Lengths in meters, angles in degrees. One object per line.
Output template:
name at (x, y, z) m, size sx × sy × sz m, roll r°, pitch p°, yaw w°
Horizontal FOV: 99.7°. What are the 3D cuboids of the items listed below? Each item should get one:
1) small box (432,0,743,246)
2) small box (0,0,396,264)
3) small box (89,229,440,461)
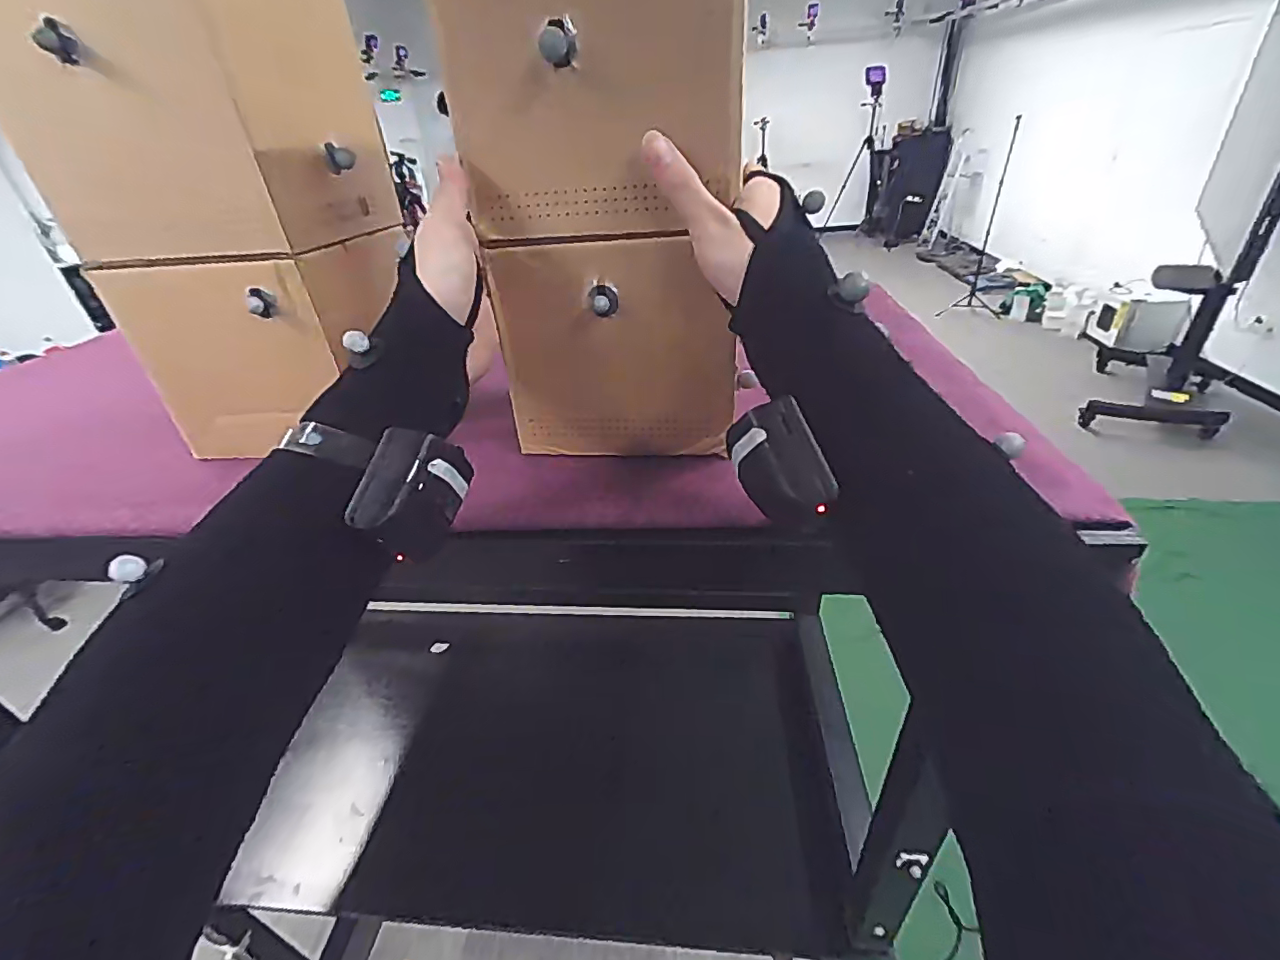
small box at (-0.020, -0.265, 0.369) m, size 0.179 × 0.176 × 0.168 m, roll 0°, pitch 34°, yaw 9°
small box at (-0.325, -0.267, 0.414) m, size 0.179 × 0.176 × 0.168 m, roll 0°, pitch 33°, yaw 7°
small box at (-0.315, -0.127, 0.501) m, size 0.179 × 0.176 × 0.168 m, roll 0°, pitch 33°, yaw 6°
